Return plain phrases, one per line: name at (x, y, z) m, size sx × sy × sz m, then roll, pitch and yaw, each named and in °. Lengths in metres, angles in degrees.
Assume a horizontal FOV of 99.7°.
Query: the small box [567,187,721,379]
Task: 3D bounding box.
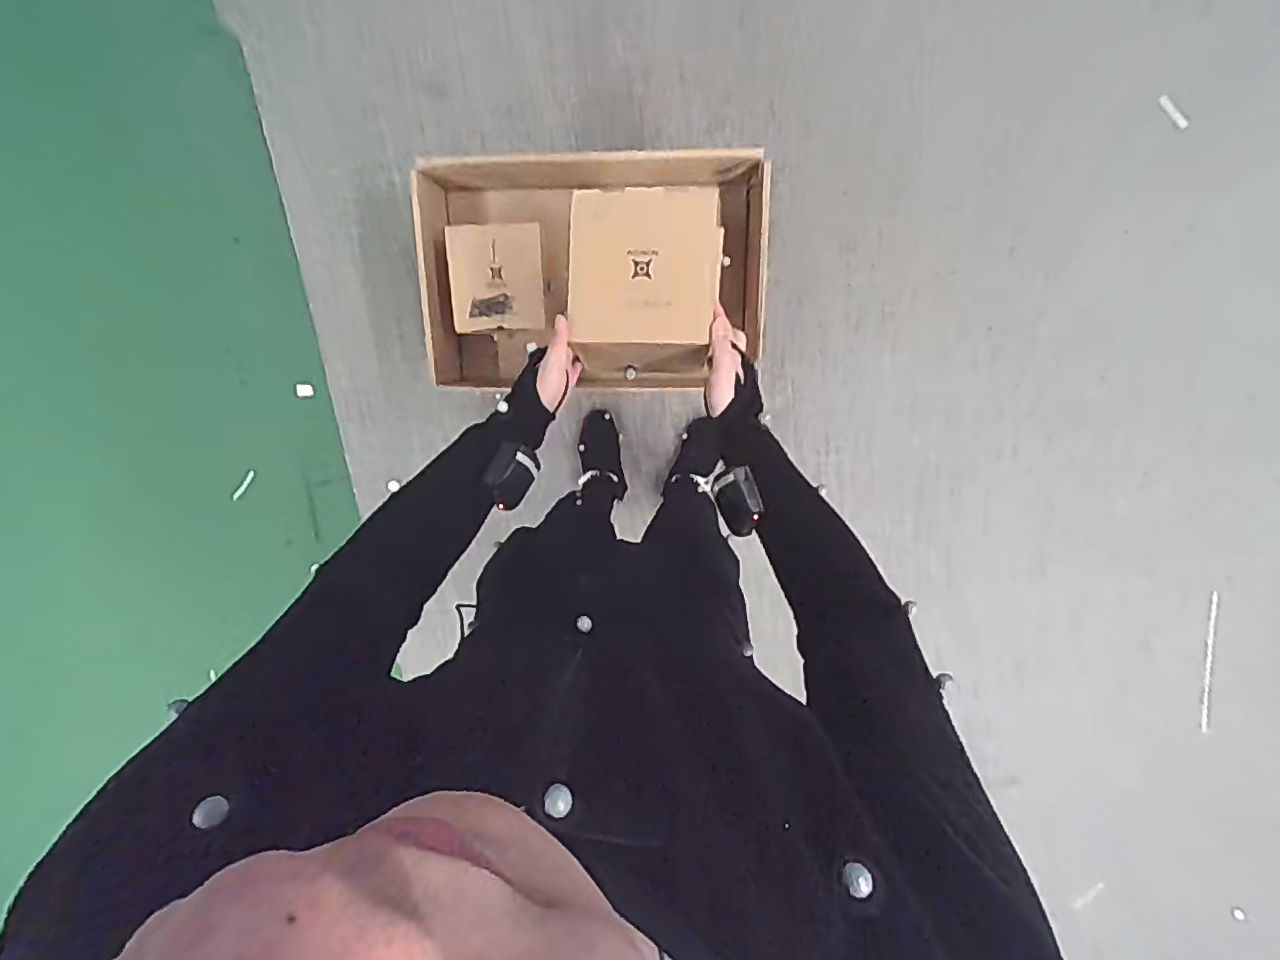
small box at (0.006, -0.233, 0.674) m, size 0.168 × 0.176 × 0.179 m, roll 2°, pitch 89°, yaw 1°
